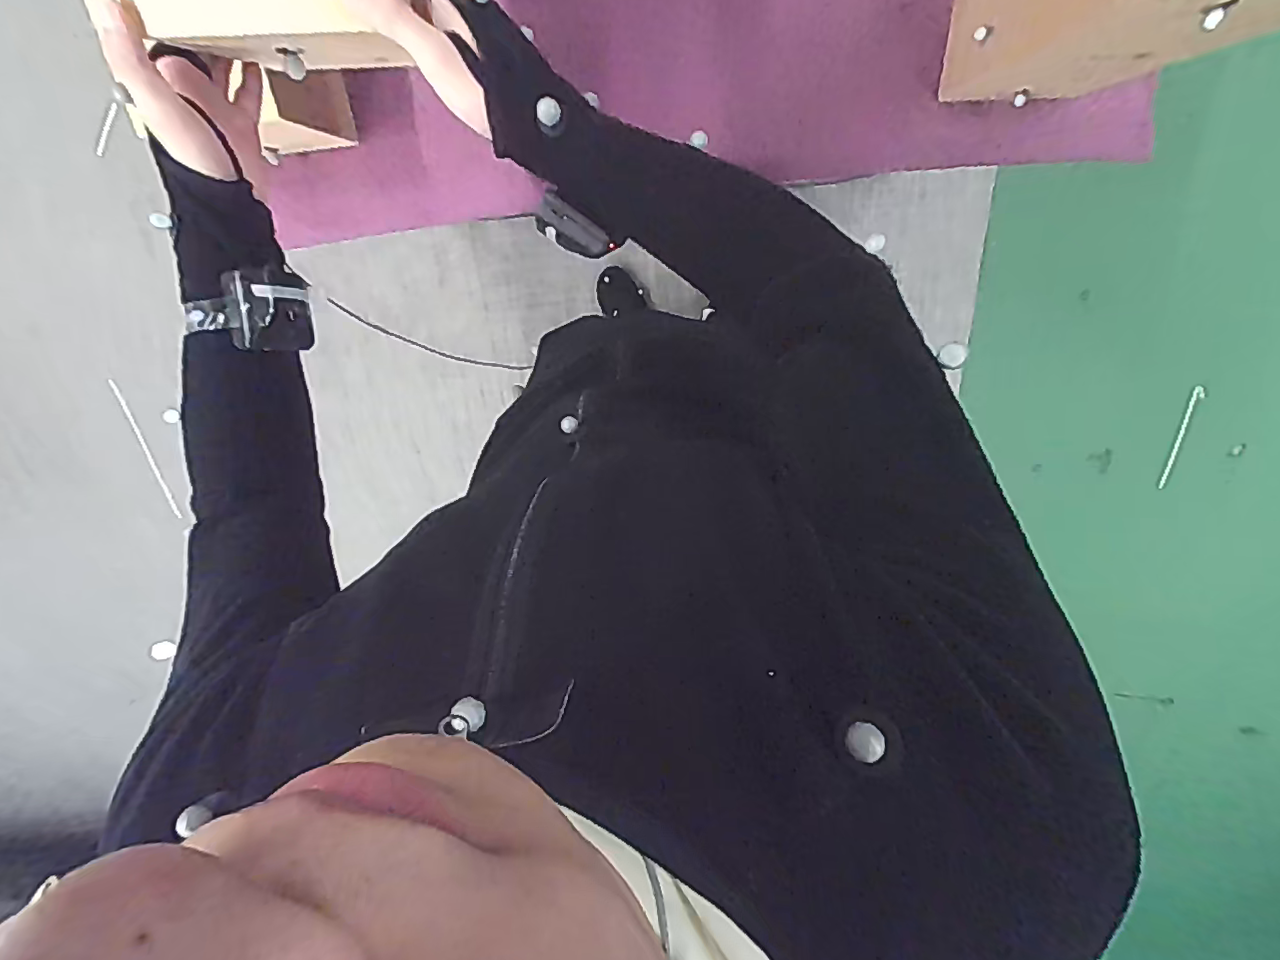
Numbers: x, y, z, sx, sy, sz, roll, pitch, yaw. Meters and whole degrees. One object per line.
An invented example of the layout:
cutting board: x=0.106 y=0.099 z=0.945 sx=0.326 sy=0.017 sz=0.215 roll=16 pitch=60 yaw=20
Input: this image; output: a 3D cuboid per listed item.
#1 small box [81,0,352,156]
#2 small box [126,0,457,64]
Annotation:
small box: x=-0.467 y=-0.487 z=0.615 sx=0.168 sy=0.176 sz=0.179 roll=-4 pitch=114 yaw=4
small box: x=-0.237 y=-0.396 z=0.364 sx=0.168 sy=0.176 sz=0.179 roll=-3 pitch=121 yaw=-1
